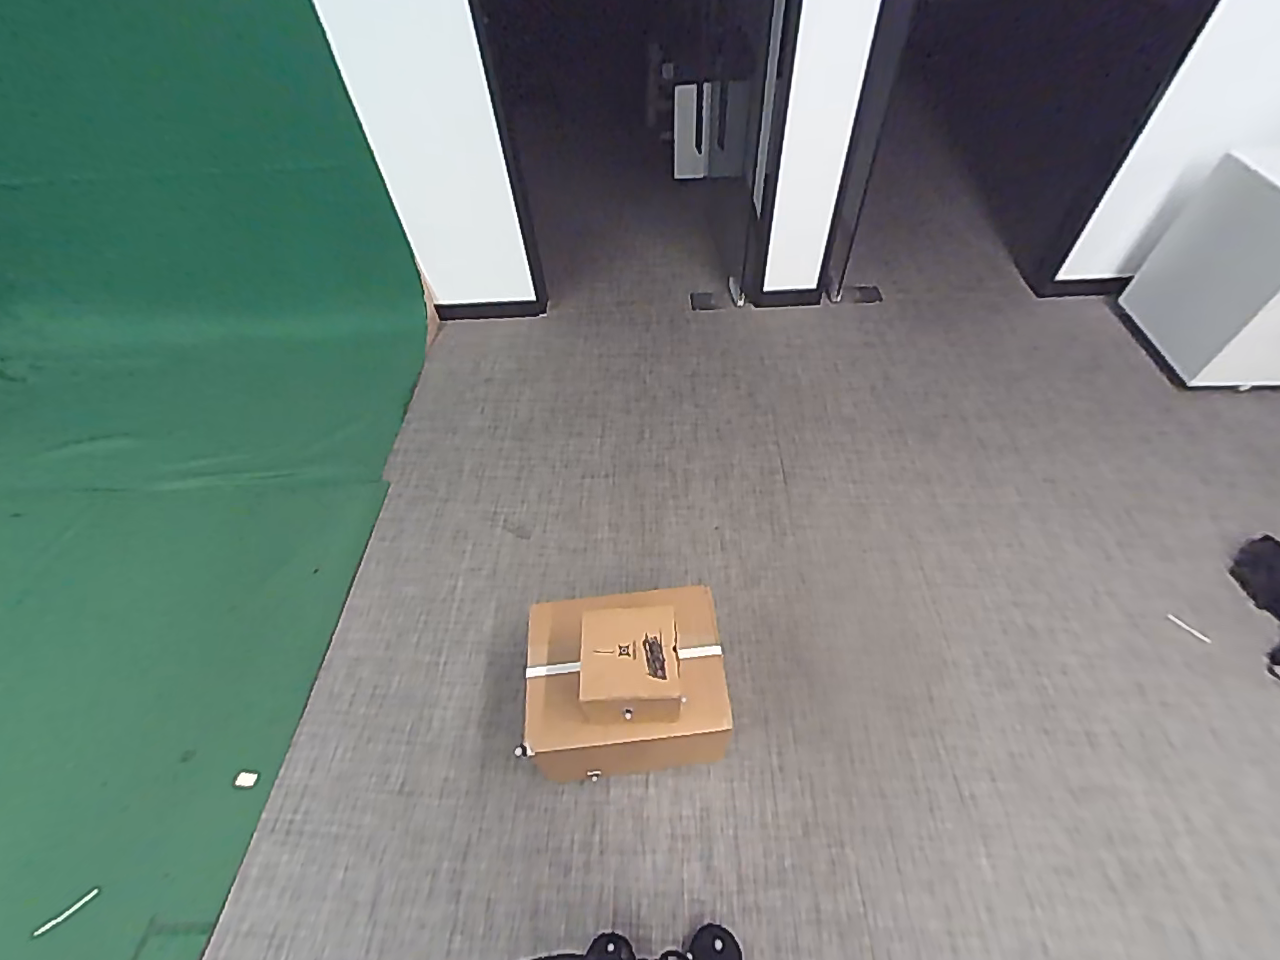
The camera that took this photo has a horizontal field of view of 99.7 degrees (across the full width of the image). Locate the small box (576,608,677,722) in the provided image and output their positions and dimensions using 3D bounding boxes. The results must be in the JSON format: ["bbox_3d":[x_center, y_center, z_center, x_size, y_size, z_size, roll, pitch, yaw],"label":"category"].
[{"bbox_3d":[-0.022,0.358,1.039,0.179,0.176,0.168,-3,52,2],"label":"small box"}]
